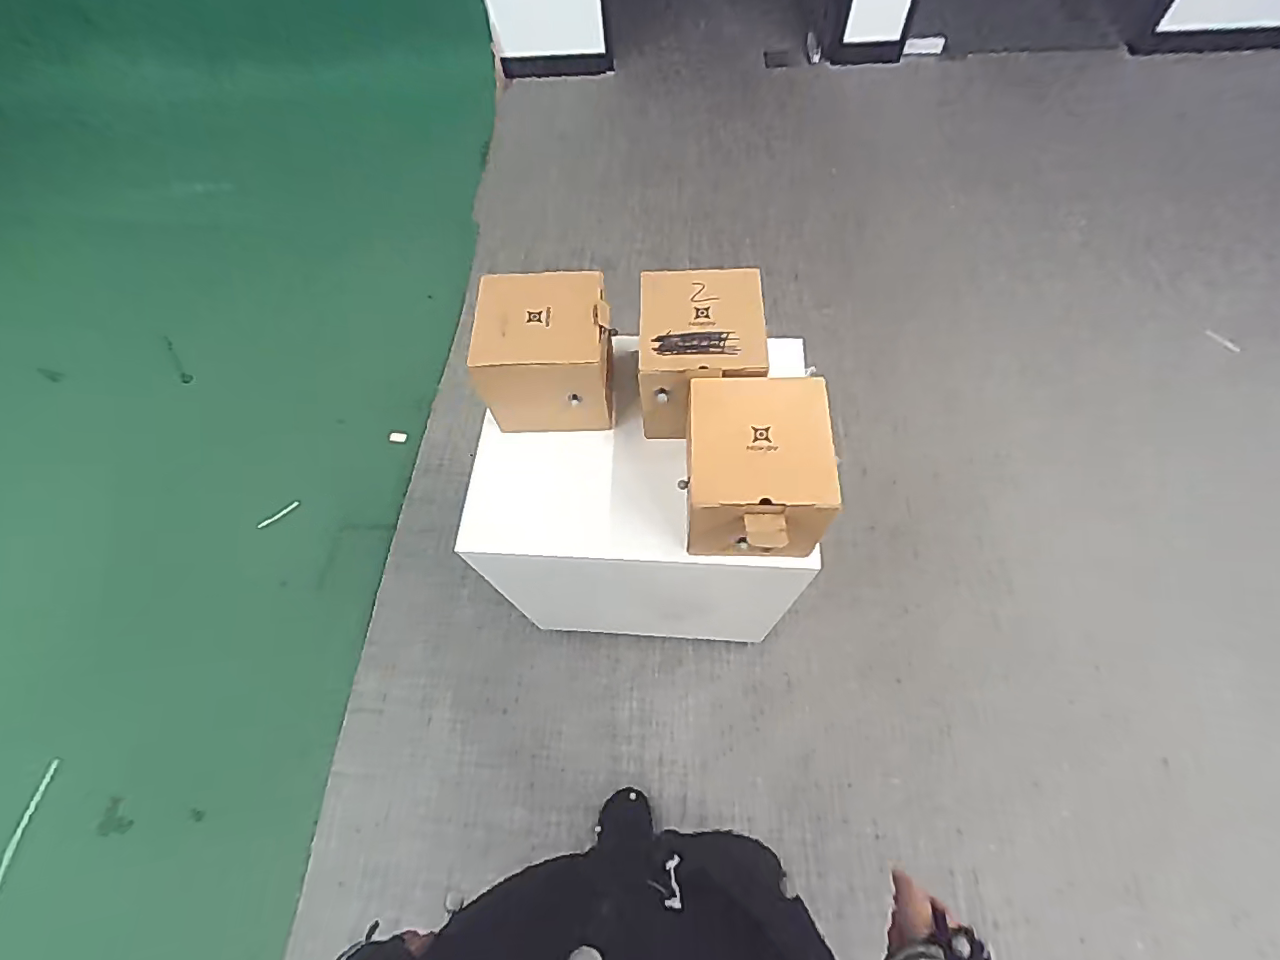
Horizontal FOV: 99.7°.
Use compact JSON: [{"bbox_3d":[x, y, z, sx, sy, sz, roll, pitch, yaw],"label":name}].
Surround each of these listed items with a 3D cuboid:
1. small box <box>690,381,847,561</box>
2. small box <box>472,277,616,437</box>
[{"bbox_3d":[0.151,-0.008,0.698,0.168,0.176,0.179,0,63,4],"label":"small box"},{"bbox_3d":[-0.128,-0.175,0.801,0.179,0.176,0.168,-2,62,2],"label":"small box"}]
